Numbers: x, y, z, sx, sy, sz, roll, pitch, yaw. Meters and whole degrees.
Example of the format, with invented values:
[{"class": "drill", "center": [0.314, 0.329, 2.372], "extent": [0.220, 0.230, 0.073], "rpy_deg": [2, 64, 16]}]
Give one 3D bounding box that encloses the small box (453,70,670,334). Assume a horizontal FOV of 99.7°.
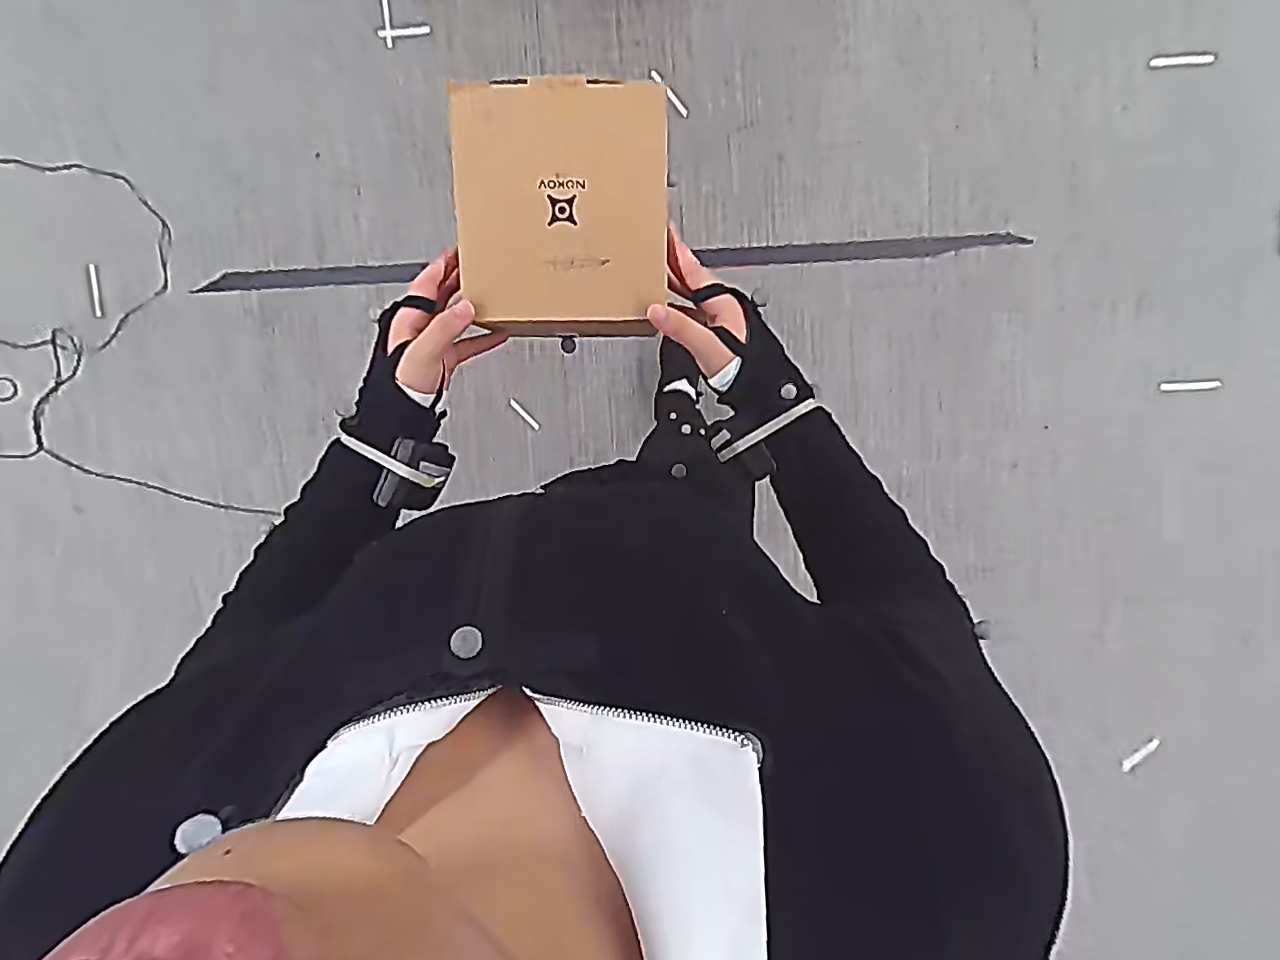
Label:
[{"class": "small box", "center": [-0.062, -0.233, 0.497], "extent": [0.168, 0.176, 0.179], "rpy_deg": [0, 101, -1]}]
